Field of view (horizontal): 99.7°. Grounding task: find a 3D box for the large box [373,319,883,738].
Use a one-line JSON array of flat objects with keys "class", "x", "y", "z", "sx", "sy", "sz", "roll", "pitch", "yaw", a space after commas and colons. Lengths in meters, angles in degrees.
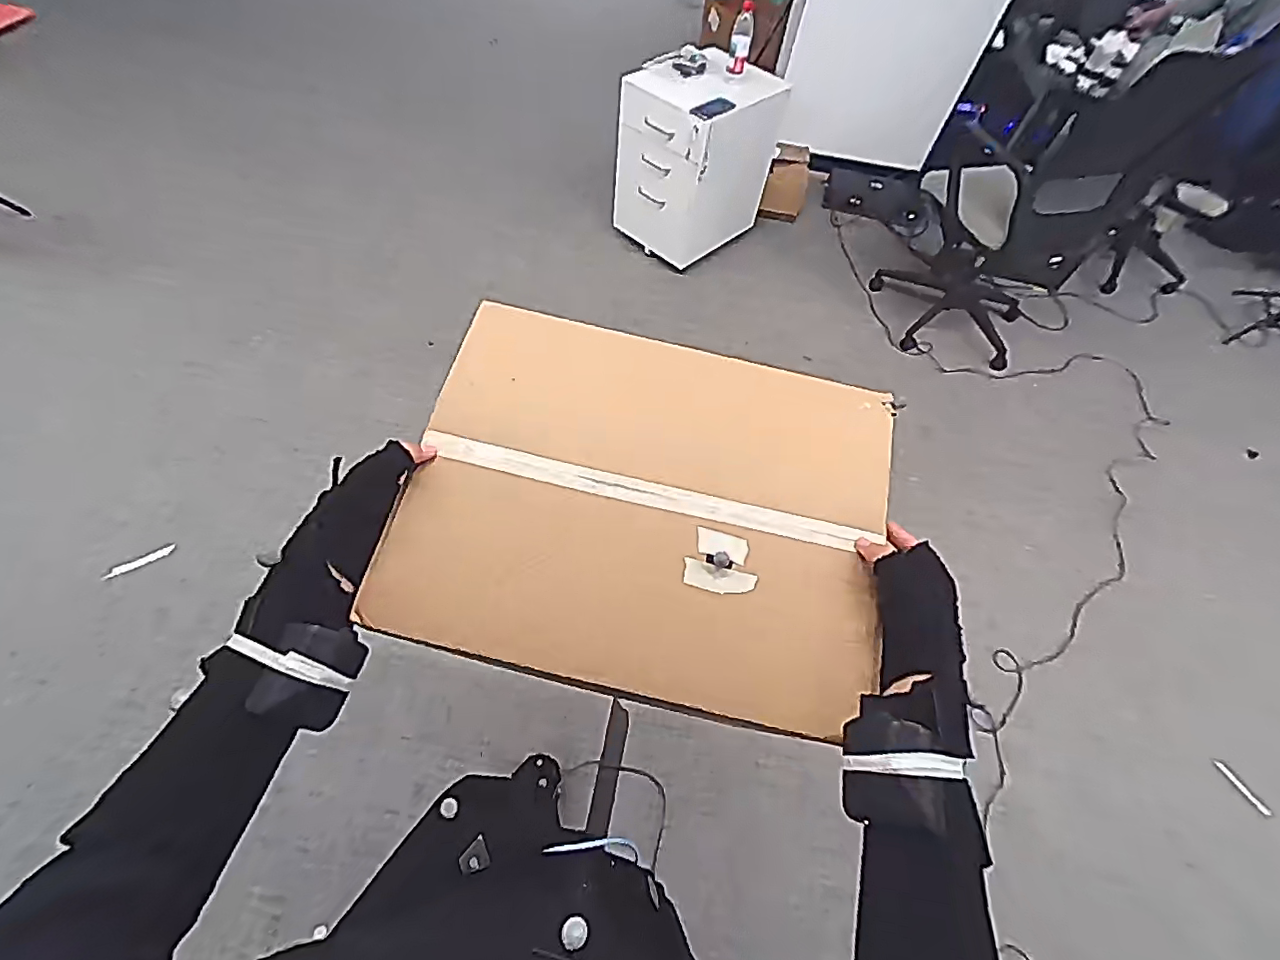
[{"class": "large box", "x": 0.000, "y": 0.075, "z": 0.610, "sx": 0.408, "sy": 0.320, "sz": 0.320, "roll": 13, "pitch": 69, "yaw": 0}]
